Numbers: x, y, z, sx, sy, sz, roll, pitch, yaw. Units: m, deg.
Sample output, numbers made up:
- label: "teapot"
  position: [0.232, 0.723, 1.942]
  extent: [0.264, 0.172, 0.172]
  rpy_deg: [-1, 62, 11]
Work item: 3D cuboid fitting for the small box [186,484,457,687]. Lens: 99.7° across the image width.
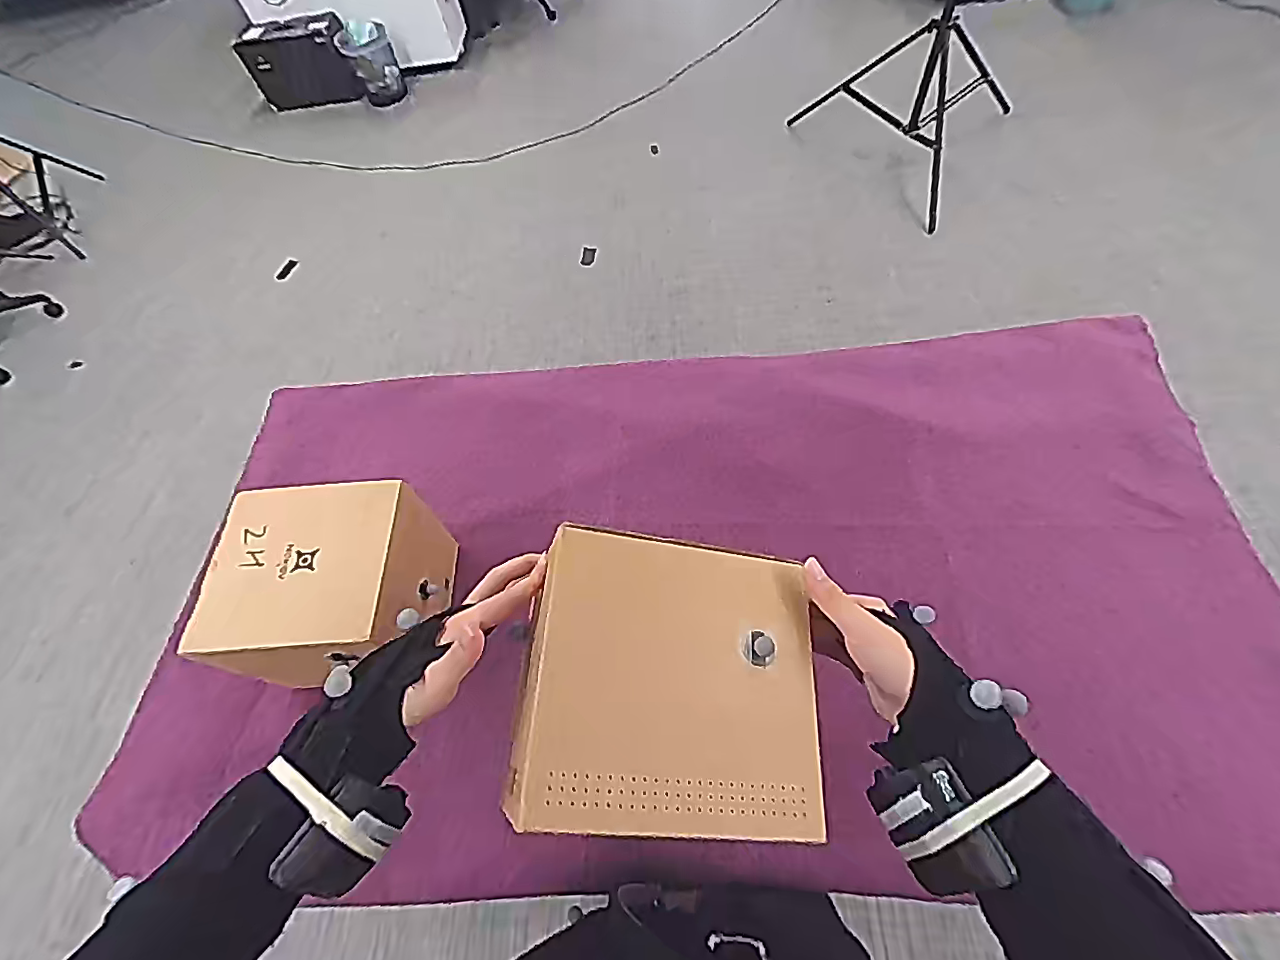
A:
- label: "small box"
  position: [-0.314, 0.120, 0.584]
  extent: [0.179, 0.176, 0.168]
  rpy_deg: [-4, 58, 2]
